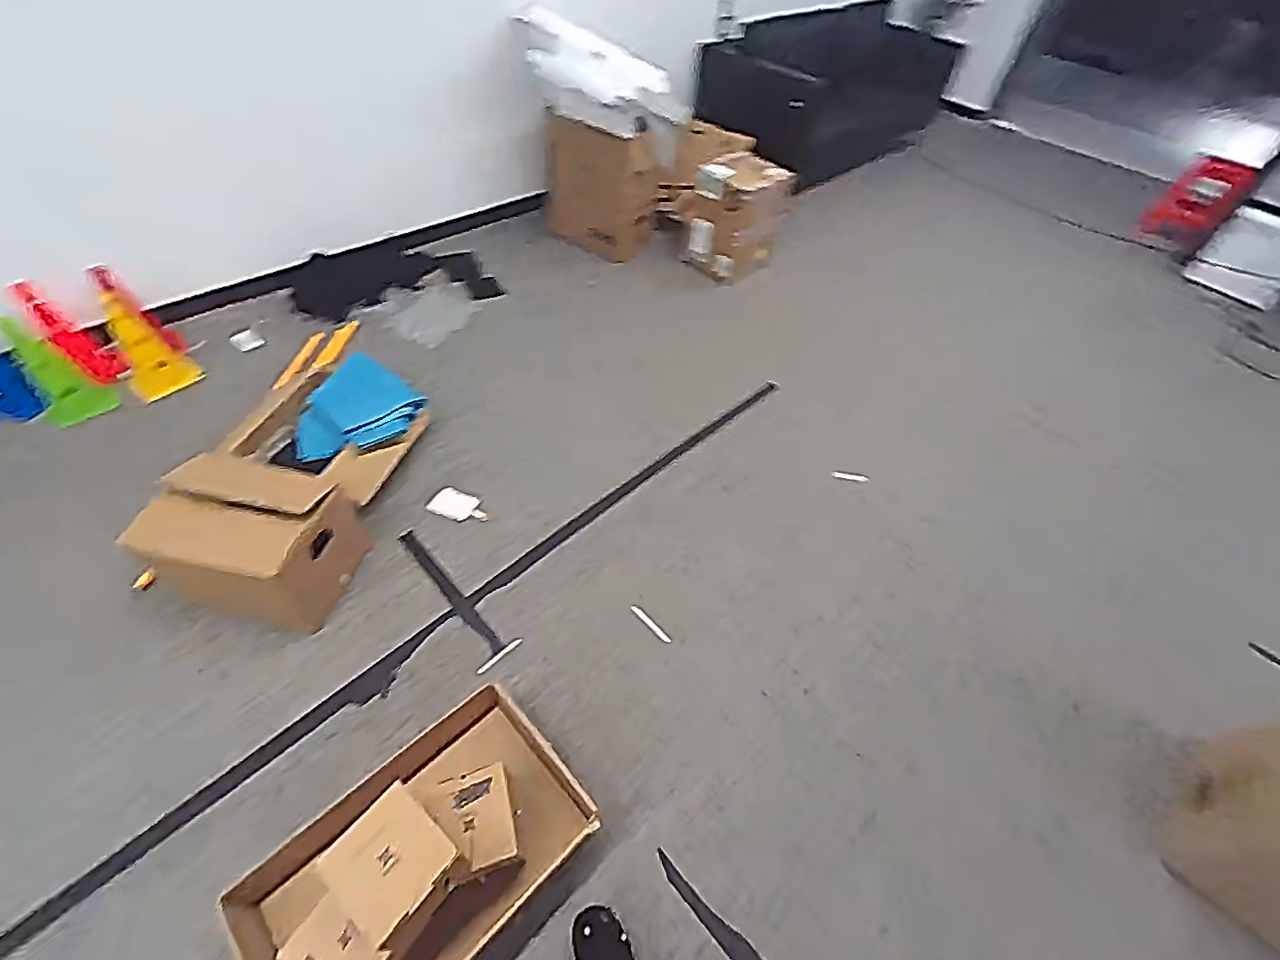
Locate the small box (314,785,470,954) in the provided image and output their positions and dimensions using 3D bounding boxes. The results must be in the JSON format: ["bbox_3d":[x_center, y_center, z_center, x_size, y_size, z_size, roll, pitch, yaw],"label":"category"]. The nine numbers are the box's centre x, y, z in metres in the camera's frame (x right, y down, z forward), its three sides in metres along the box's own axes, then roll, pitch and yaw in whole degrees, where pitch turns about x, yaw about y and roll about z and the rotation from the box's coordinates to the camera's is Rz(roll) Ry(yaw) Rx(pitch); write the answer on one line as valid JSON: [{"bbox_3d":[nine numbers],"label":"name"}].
[{"bbox_3d":[-0.426,0.688,0.961,0.179,0.176,0.168,32,52,21],"label":"small box"}]
